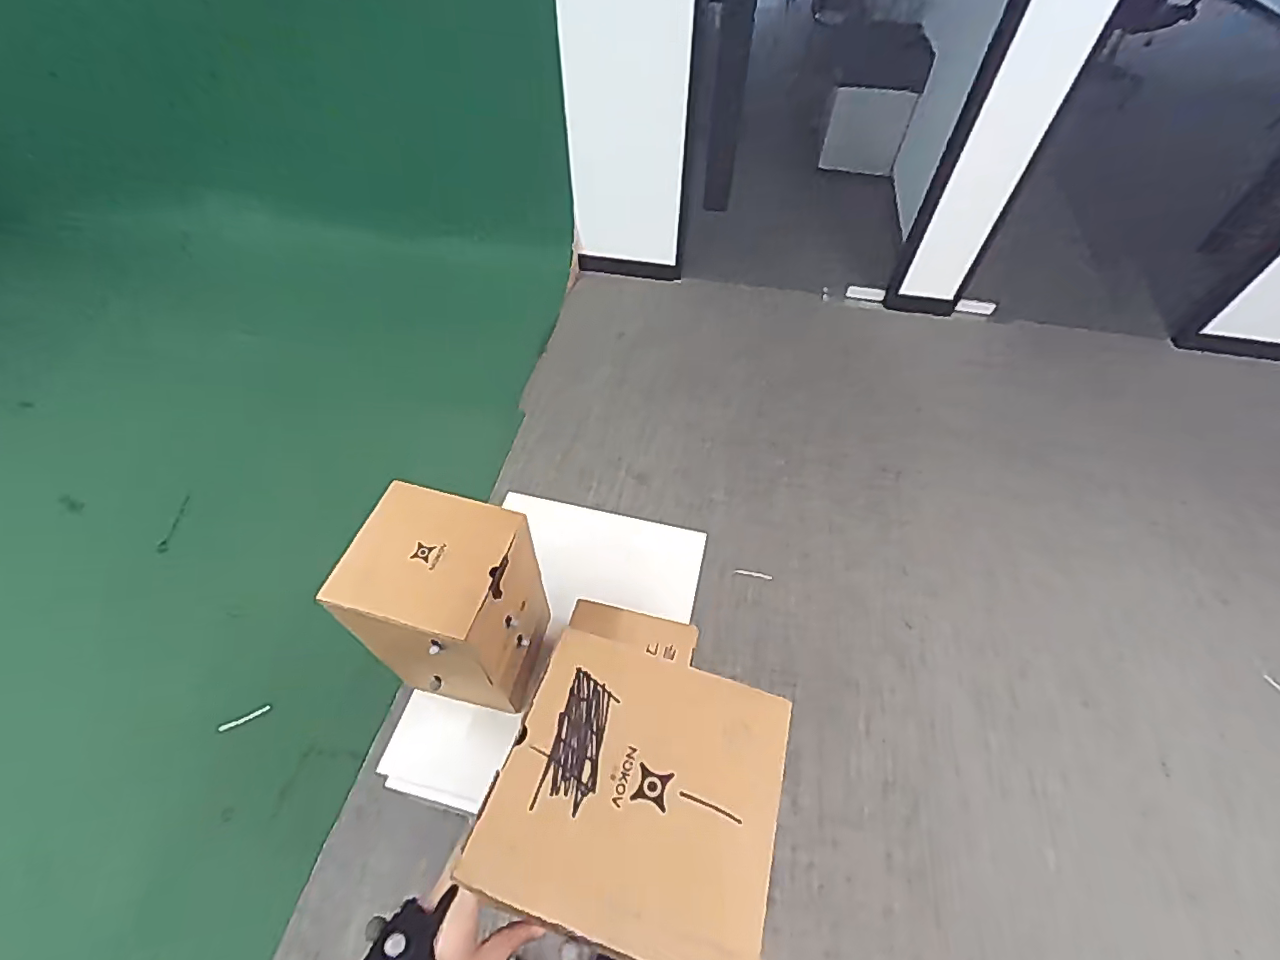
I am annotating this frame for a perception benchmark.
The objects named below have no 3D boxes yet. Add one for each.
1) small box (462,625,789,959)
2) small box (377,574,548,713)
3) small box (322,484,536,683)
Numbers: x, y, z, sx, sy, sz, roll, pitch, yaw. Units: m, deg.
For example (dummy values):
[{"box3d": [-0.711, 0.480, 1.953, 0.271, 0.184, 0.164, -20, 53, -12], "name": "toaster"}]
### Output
[{"box3d": [-0.004, 0.244, 0.410, 0.179, 0.176, 0.168, 16, 48, 9], "name": "small box"}, {"box3d": [-0.251, 0.232, 0.811, 0.179, 0.176, 0.168, 12, 53, 6], "name": "small box"}, {"box3d": [-0.244, 0.135, 0.680, 0.179, 0.176, 0.168, 14, 53, 6], "name": "small box"}]
